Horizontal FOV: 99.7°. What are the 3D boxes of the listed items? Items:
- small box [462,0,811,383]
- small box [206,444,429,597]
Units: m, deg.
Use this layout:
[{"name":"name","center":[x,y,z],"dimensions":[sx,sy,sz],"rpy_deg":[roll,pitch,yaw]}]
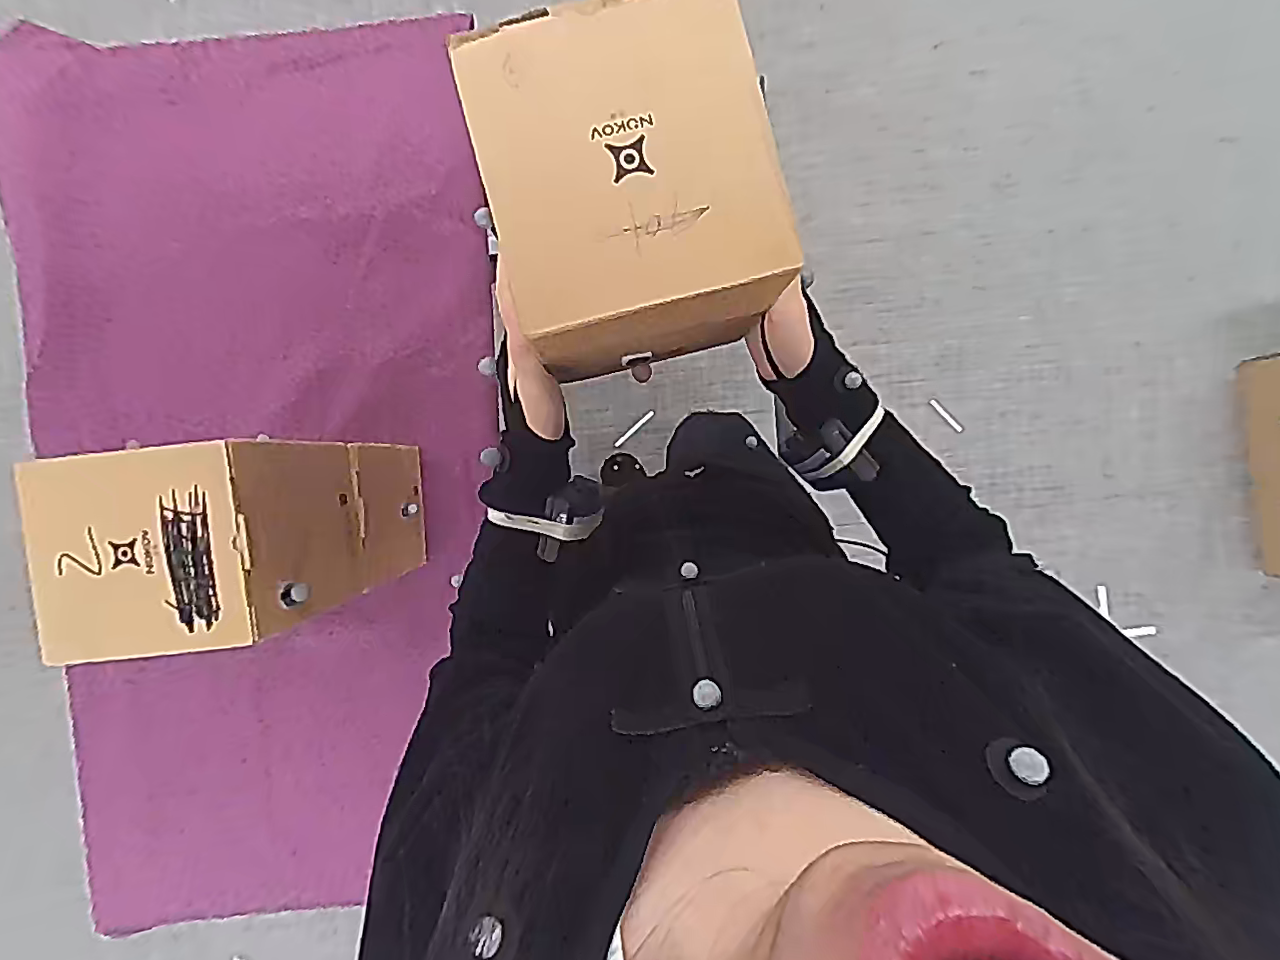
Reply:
[{"name":"small box","center":[-0.005,-0.184,0.385],"dimensions":[0.168,0.176,0.179],"rpy_deg":[-15,91,-1]},{"name":"small box","center":[-0.385,0.043,0.673],"dimensions":[0.179,0.176,0.168],"rpy_deg":[-3,93,0]}]
